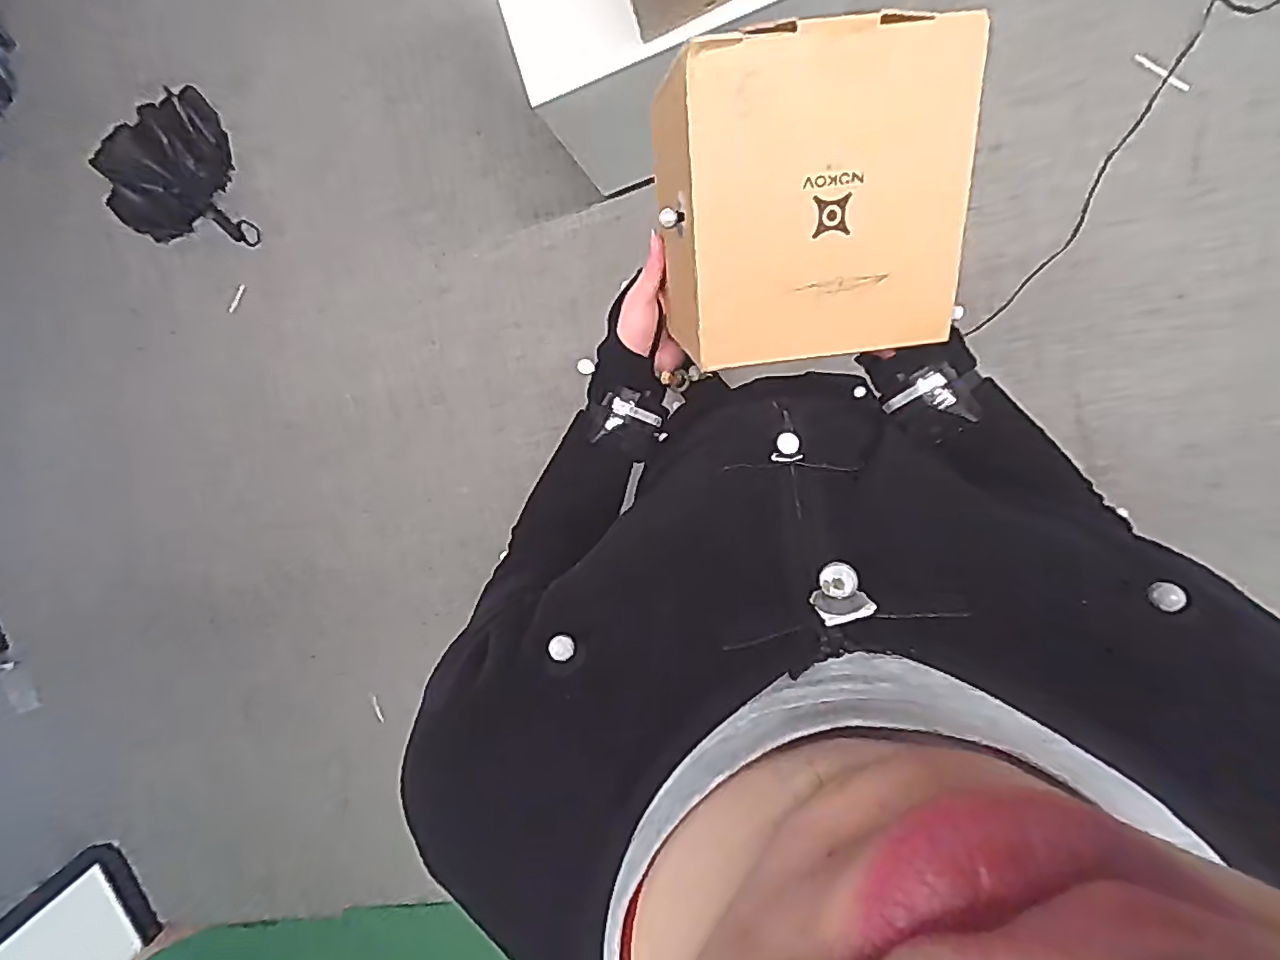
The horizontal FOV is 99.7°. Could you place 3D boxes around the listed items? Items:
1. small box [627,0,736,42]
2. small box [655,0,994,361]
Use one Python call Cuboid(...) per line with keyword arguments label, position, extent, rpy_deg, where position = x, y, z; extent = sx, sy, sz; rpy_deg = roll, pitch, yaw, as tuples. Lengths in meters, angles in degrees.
Cuboid(label="small box", position=(0.038, -0.726, 0.690), extent=(0.168, 0.176, 0.179), rpy_deg=(-19, 99, 13))
Cuboid(label="small box", position=(0.106, -0.196, 0.385), extent=(0.168, 0.176, 0.179), rpy_deg=(-8, 115, -2))
